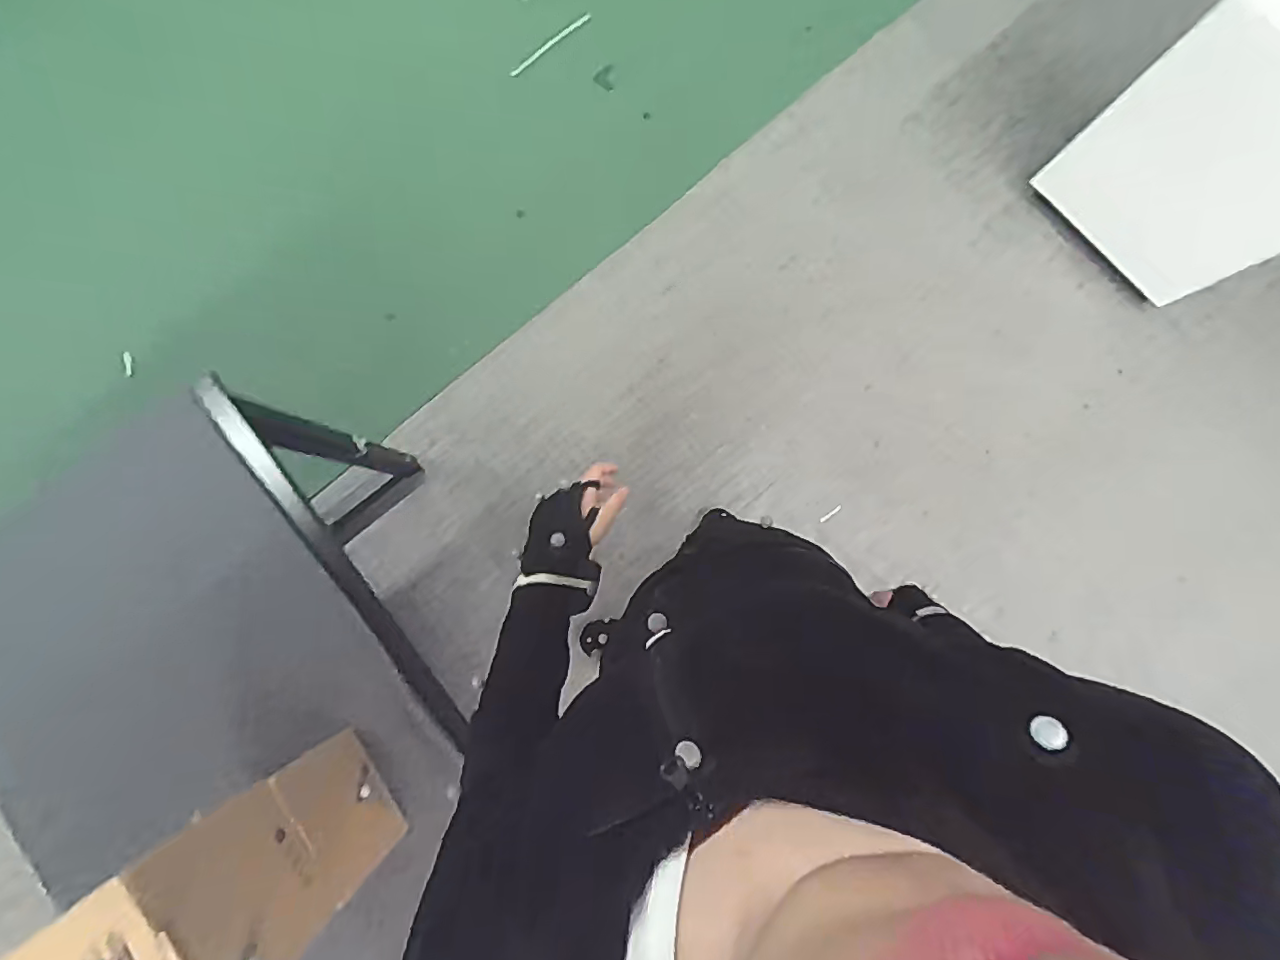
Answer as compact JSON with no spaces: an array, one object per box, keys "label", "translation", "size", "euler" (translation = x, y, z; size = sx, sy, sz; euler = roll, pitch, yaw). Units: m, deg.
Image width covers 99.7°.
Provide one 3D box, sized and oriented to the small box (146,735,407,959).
[{"label":"small box","translation":[-0.434,0.461,0.676],"size":[0.179,0.176,0.168],"euler":[-34,84,-2]}]
